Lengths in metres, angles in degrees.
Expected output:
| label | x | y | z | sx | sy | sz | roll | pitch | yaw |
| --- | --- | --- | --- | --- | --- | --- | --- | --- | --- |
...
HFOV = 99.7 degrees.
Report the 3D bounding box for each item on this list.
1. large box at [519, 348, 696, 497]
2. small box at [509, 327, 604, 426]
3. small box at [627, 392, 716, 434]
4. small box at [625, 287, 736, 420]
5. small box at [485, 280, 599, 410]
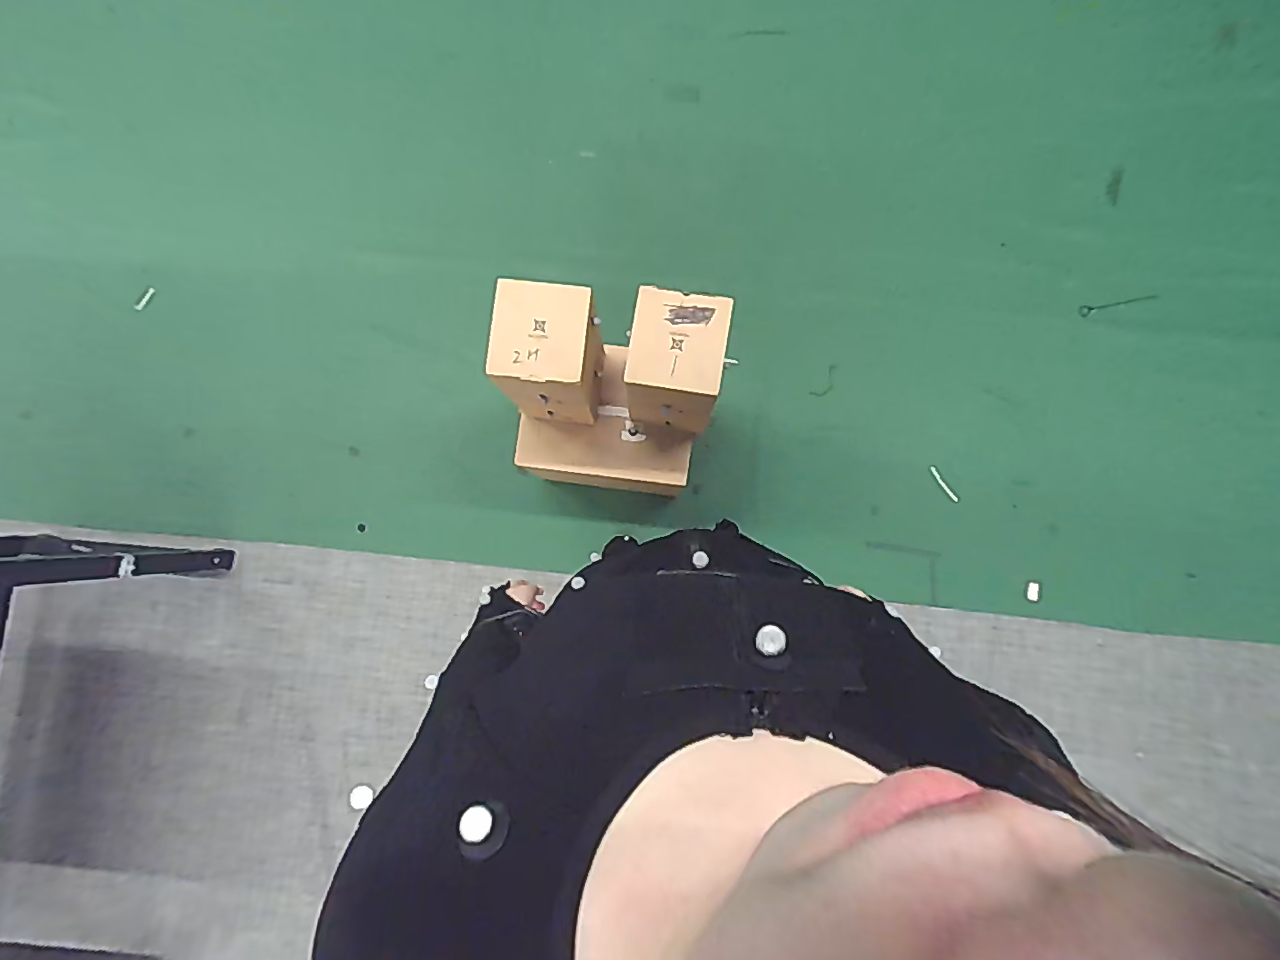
| label | x | y | z | sx | sy | sz | roll | pitch | yaw |
| --- | --- | --- | --- | --- | --- | --- | --- | --- | --- |
| large box | -0.066 | -0.138 | 1.391 | 0.408 | 0.320 | 0.320 | 7 | 85 | 1 |
| small box | -0.170 | -0.226 | 1.159 | 0.168 | 0.176 | 0.179 | 7 | 84 | 1 |
| small box | 0.077 | -0.202 | 1.150 | 0.179 | 0.176 | 0.168 | 11 | 84 | 4 |
| small box | 0.071 | -0.222 | 0.985 | 0.168 | 0.176 | 0.179 | 9 | 85 | 4 |
| small box | -0.170 | -0.241 | 0.995 | 0.168 | 0.176 | 0.179 | 6 | 84 | 2 |
